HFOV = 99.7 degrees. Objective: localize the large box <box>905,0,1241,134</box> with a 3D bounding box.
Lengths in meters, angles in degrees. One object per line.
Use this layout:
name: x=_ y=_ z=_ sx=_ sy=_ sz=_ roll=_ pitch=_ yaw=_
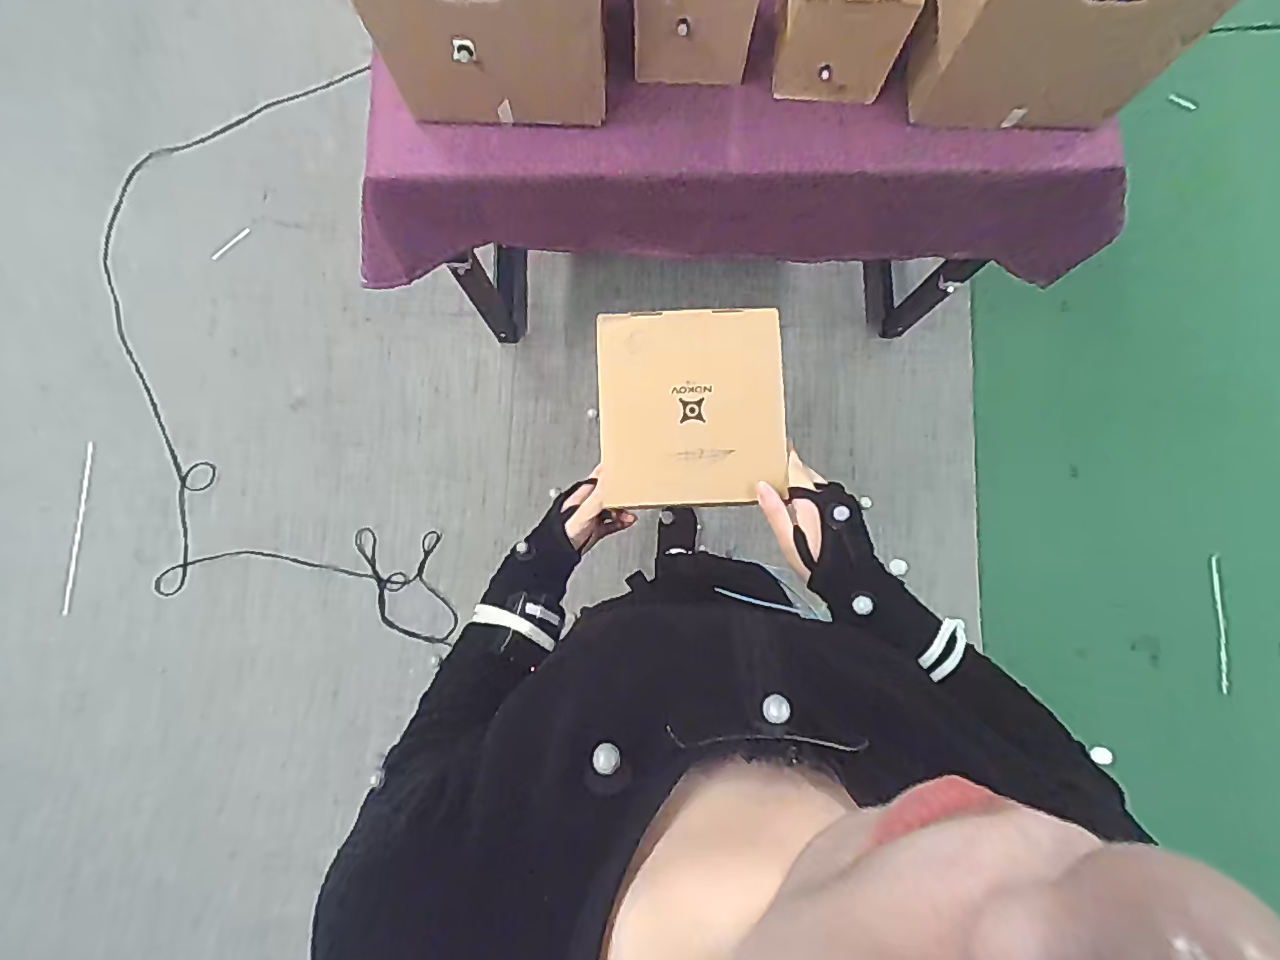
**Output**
large box: x=0.595 y=-0.784 z=0.754 sx=0.320 sy=0.320 sz=0.408 roll=2 pitch=83 yaw=0
